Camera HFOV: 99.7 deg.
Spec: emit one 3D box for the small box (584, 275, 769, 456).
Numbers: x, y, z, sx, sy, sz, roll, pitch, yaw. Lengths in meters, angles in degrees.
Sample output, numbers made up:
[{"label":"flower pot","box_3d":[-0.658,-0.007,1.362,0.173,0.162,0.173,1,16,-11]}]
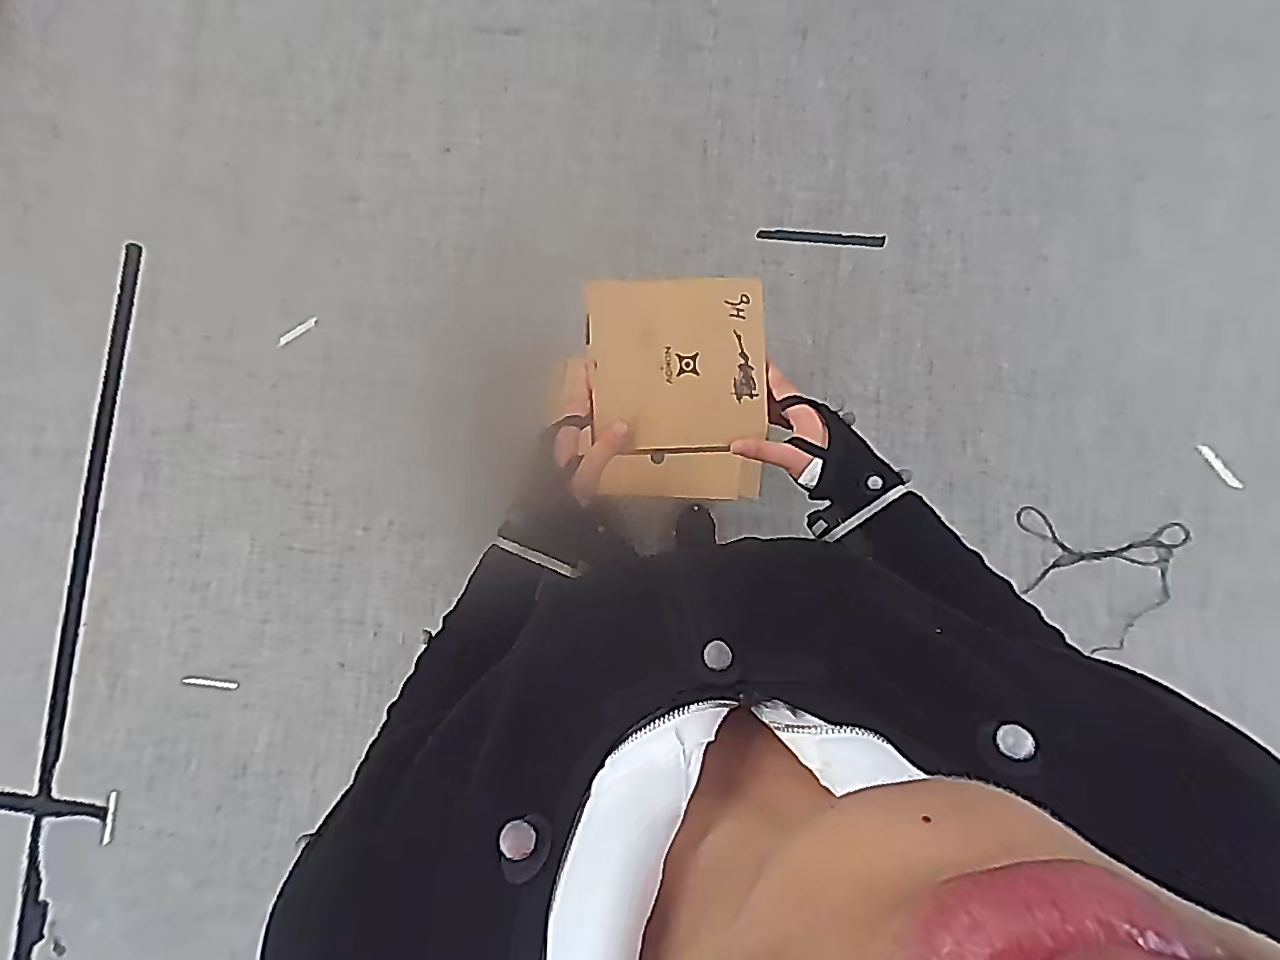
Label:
[{"label":"small box","box_3d":[0.031,-0.113,0.596,0.179,0.176,0.168,-2,91,-5]}]
